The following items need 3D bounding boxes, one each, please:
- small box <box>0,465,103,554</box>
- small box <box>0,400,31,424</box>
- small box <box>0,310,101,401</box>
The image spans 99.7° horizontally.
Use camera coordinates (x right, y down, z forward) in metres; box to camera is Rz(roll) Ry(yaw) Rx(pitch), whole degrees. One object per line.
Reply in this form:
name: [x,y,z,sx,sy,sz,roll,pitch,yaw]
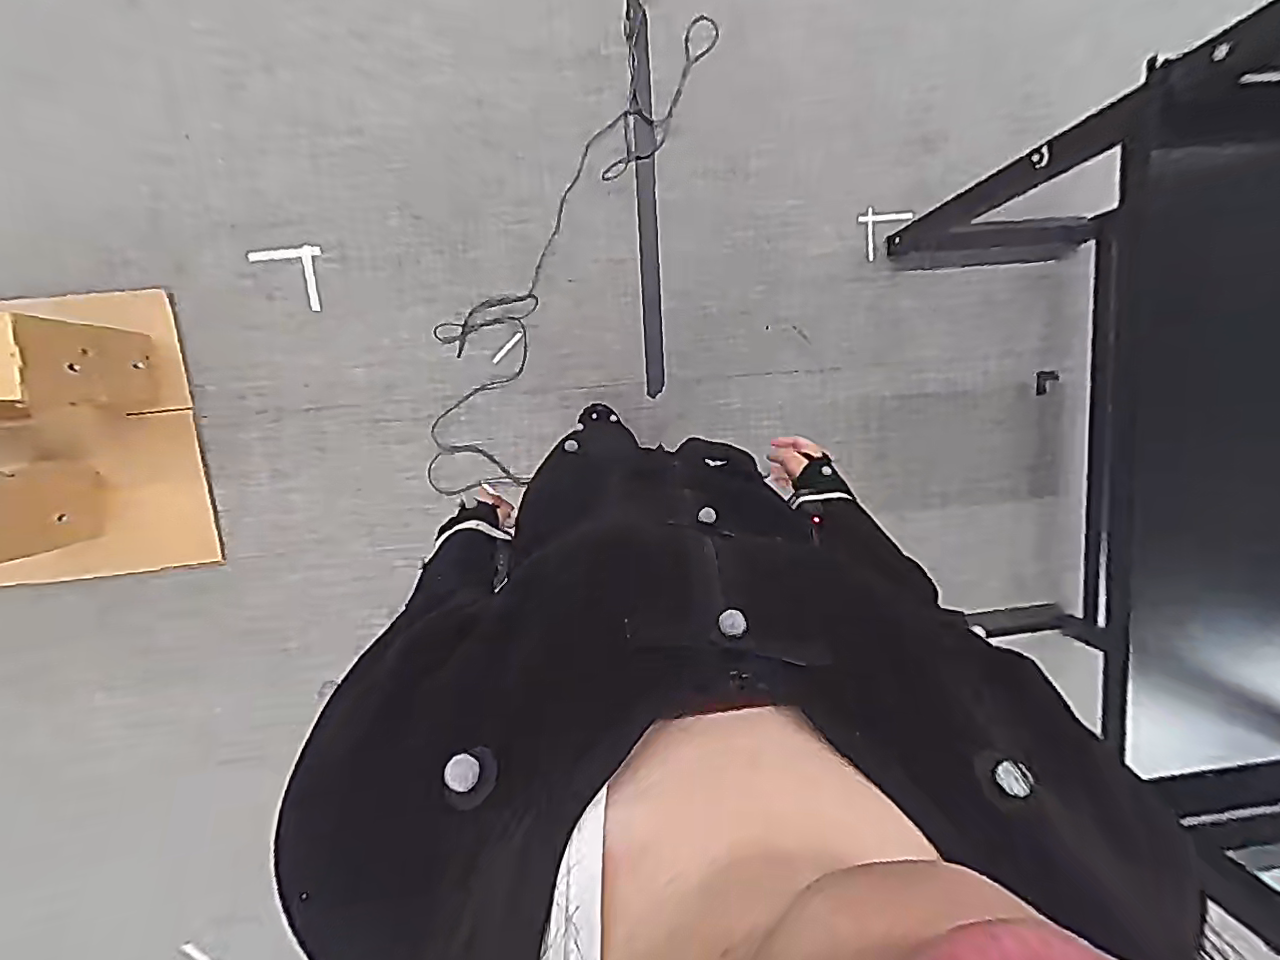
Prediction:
small box: [-1.437,0.065,1.285,0.168,0.176,0.179,3,98,-6]
small box: [-1.585,-0.212,1.240,0.168,0.176,0.179,-10,99,-3]
small box: [-1.266,-0.246,1.095,0.179,0.176,0.168,-2,98,-6]
